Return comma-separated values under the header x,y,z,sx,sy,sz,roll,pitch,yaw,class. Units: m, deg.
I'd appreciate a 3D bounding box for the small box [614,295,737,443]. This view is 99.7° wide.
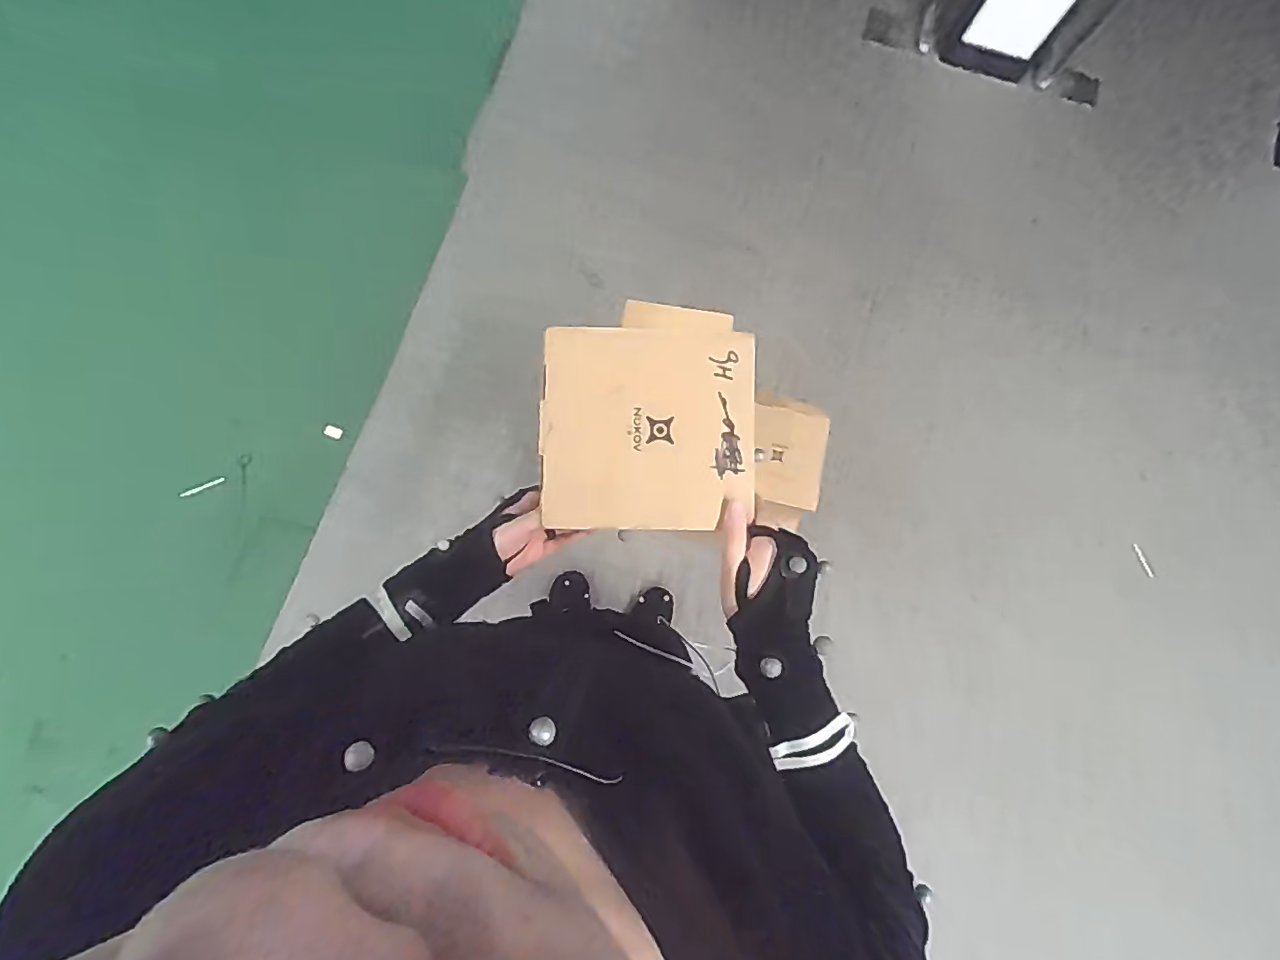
x,y,z,sx,sy,sz,roll,pitch,yaw,class
0.050,-0.171,0.883,0.168,0.176,0.179,9,82,-3,small box
